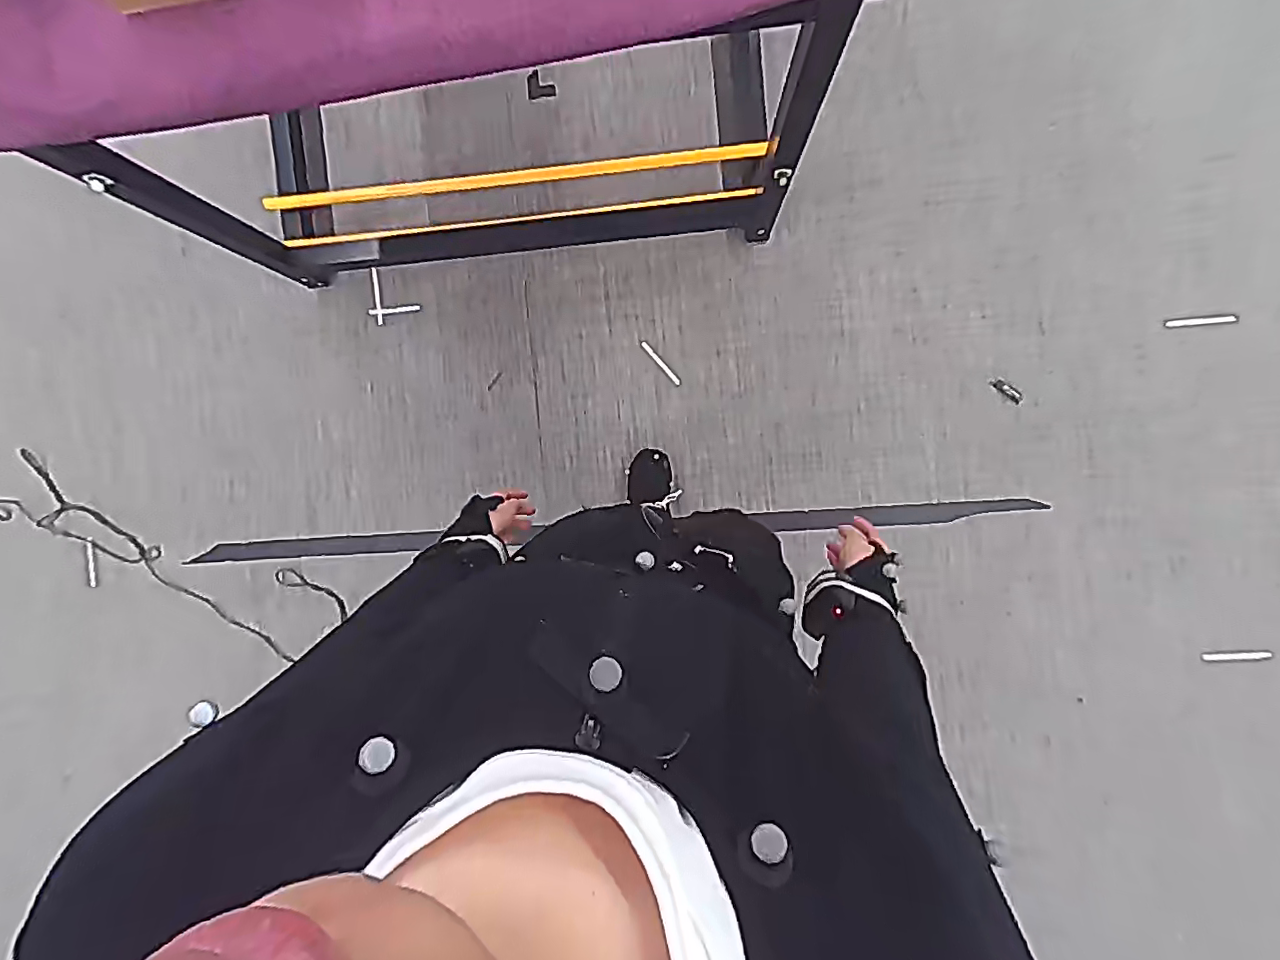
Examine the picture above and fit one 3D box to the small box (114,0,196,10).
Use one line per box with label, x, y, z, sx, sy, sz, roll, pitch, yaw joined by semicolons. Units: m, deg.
small box;-0.552;-0.649;0.565;0.179;0.176;0.168;-6;91;4
